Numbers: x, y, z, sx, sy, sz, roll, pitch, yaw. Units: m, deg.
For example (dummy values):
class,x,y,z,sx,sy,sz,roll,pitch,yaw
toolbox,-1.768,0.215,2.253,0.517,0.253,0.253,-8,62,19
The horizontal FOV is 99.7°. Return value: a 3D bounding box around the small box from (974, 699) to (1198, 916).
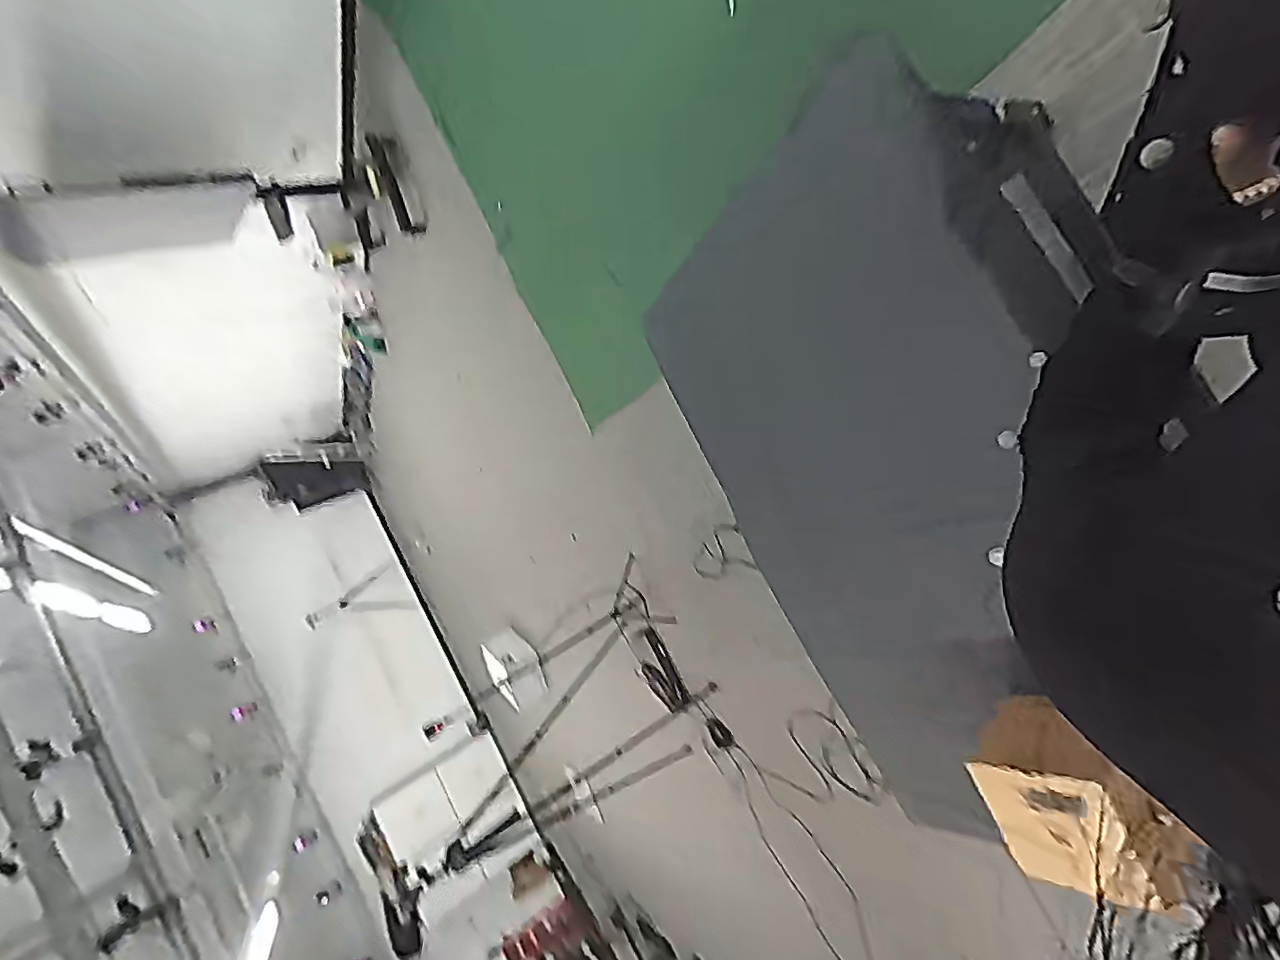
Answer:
class,x,y,z,sx,sy,sz,roll,pitch,yaw
small box,0.608,0.424,0.741,0.168,0.176,0.179,-30,86,56
